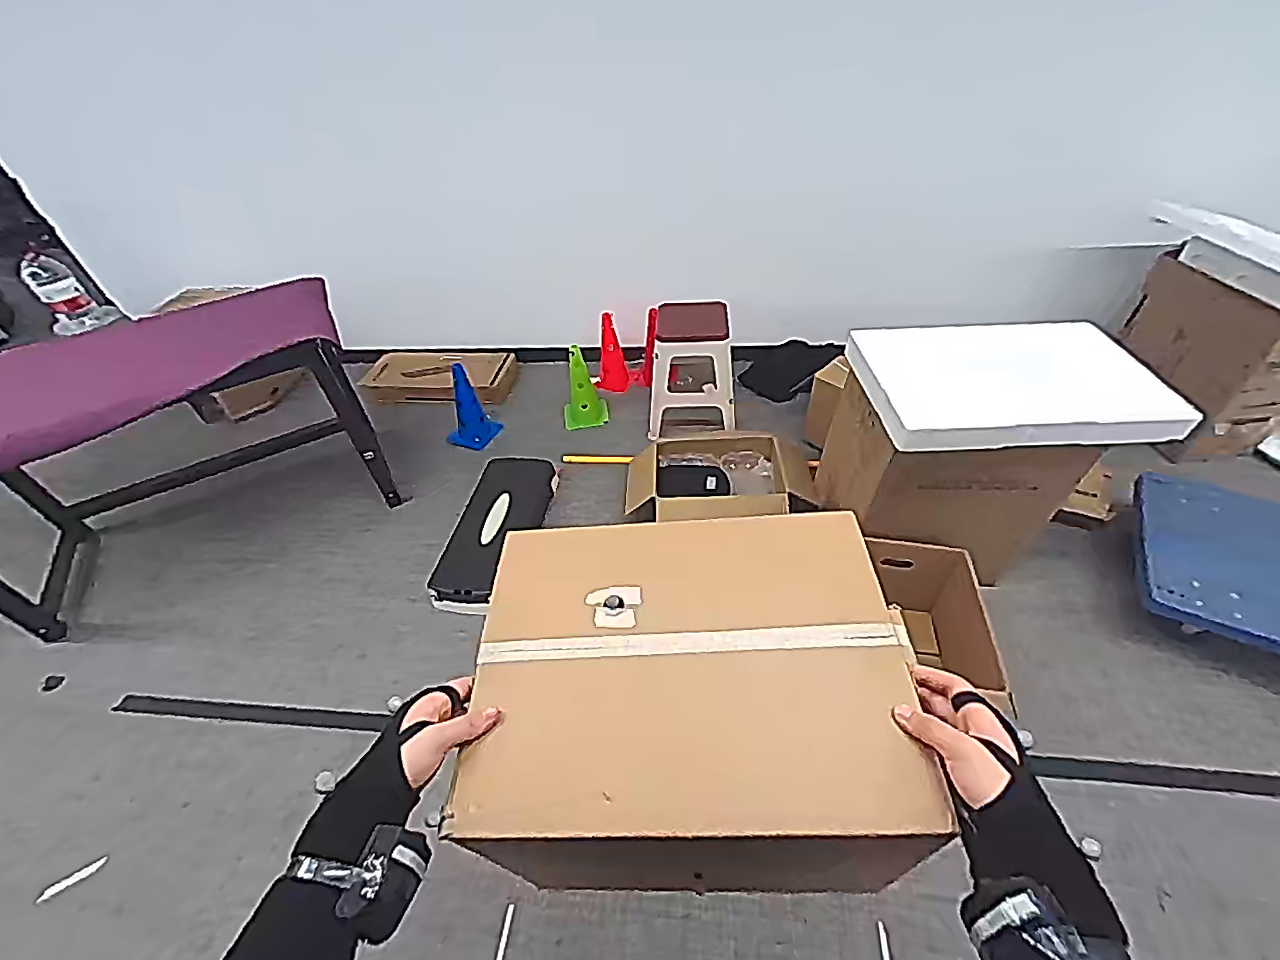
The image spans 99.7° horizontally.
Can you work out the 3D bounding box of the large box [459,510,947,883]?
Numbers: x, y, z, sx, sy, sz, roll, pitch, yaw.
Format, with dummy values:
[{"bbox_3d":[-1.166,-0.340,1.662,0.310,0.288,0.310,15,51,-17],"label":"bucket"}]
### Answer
[{"bbox_3d":[0.064,0.266,0.642,0.408,0.320,0.320,-6,45,6],"label":"large box"}]
